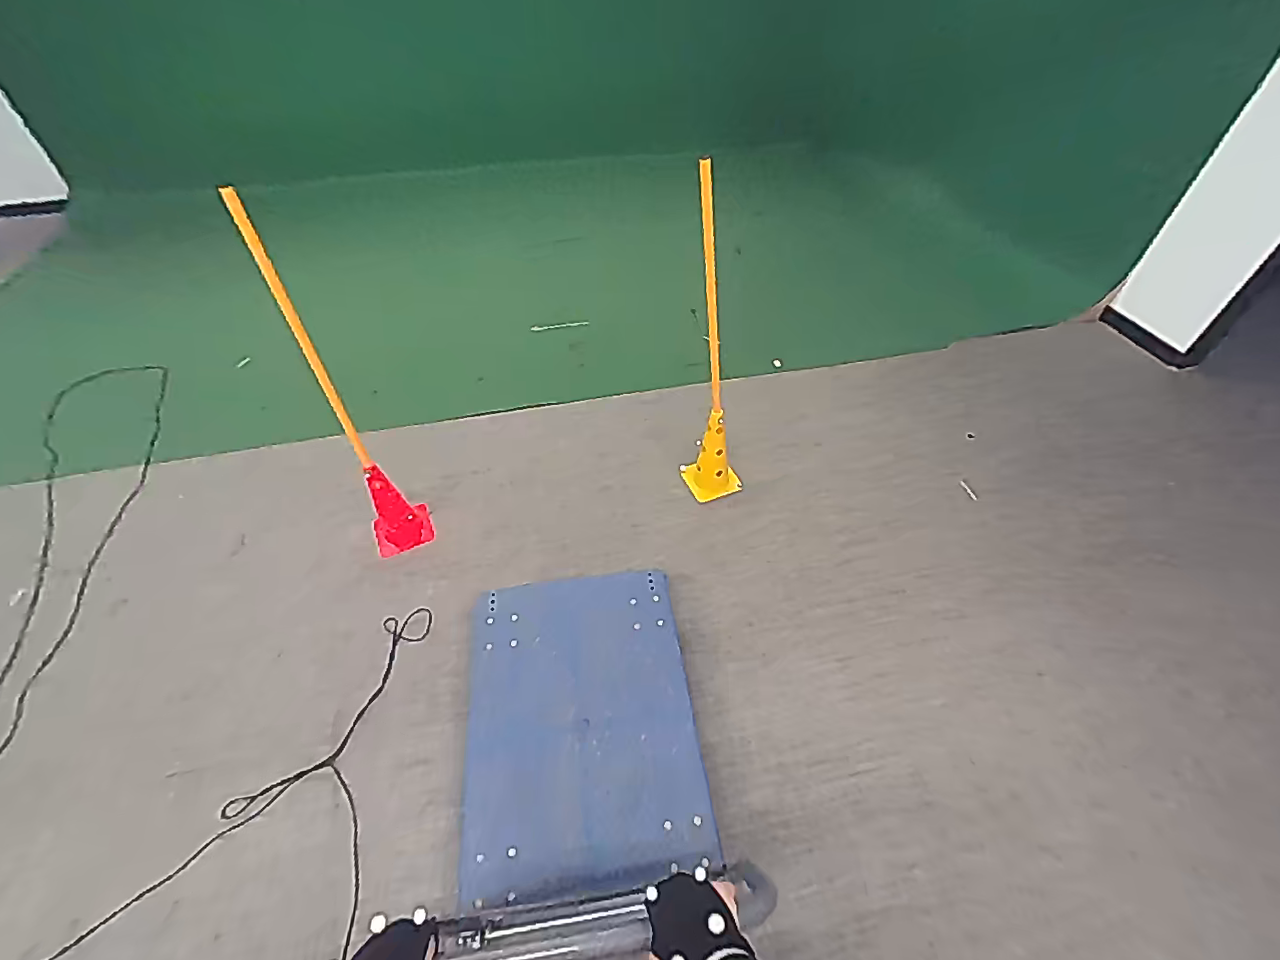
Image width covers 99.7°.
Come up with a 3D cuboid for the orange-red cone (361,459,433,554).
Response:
[{"bbox_3d":[-0.884,0.063,1.880,0.199,0.360,0.198,-21,51,-16],"label":"orange-red cone"}]
